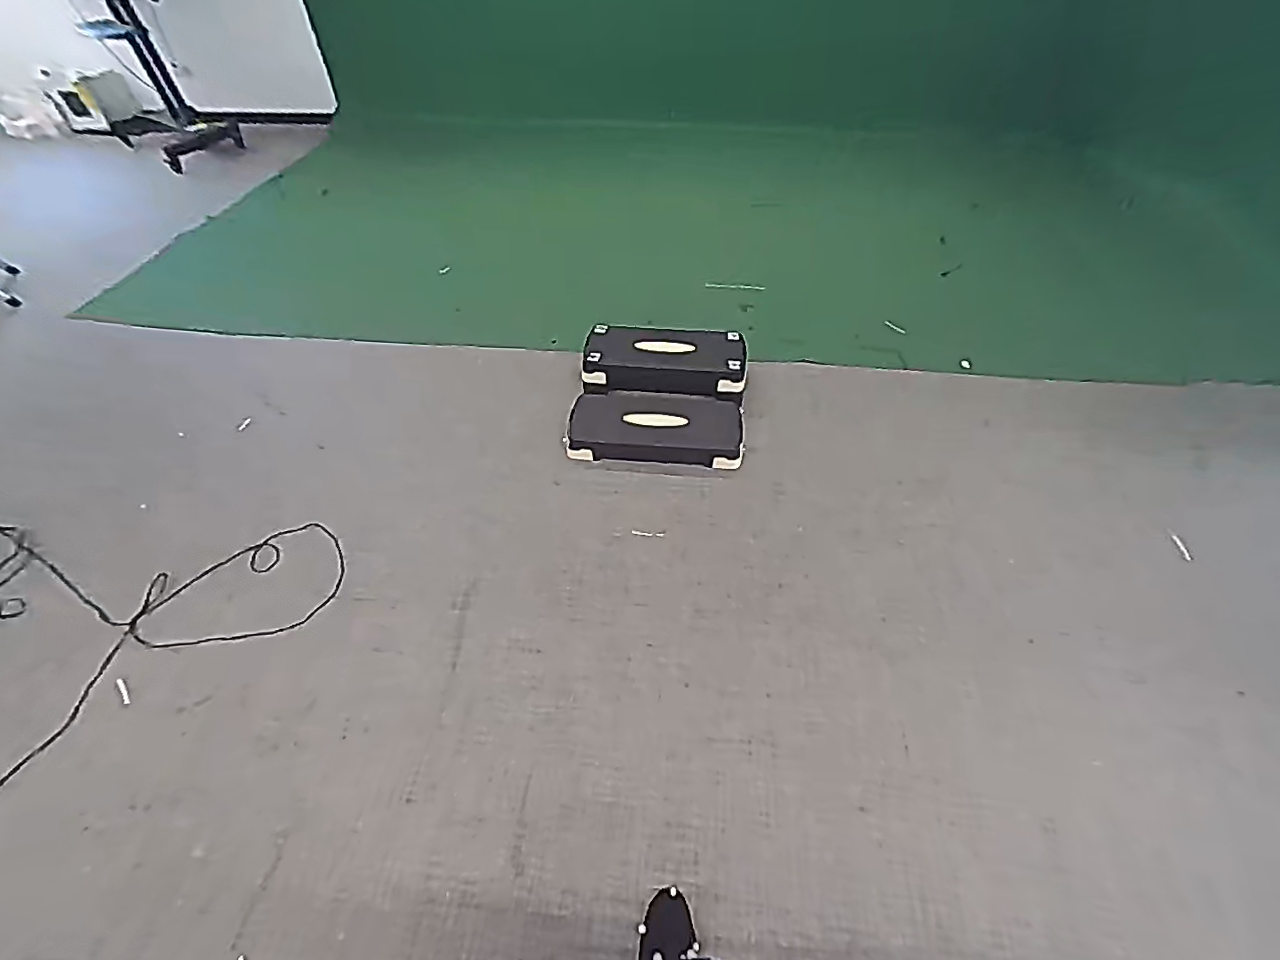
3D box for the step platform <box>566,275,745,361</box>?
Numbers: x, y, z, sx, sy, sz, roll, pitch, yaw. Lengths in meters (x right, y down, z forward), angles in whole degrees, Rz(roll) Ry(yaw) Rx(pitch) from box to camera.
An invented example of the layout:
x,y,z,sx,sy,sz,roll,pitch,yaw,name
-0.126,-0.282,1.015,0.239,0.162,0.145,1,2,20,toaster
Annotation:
x,y,z,sx,sy,sz,roll,pitch,yaw,name
0.060,-0.641,2.143,0.684,0.204,0.286,4,49,5,step platform
